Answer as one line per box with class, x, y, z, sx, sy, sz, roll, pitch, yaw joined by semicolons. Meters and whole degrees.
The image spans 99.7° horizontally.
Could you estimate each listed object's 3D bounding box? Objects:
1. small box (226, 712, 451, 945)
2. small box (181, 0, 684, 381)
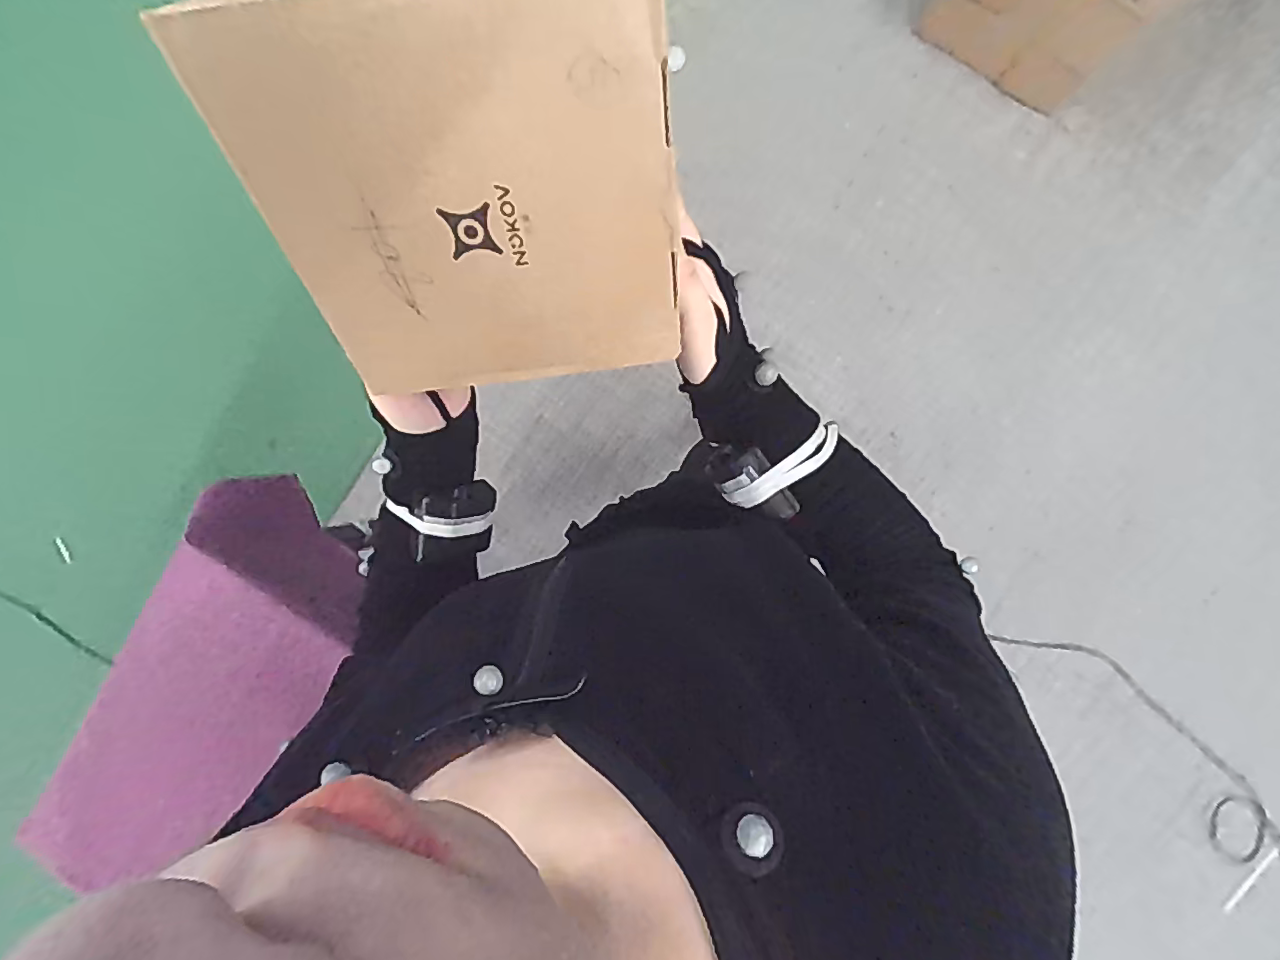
small box;-0.398;0.459;0.745;0.179;0.176;0.168;34;95;4
small box;-0.073;-0.177;0.294;0.179;0.168;0.176;-5;49;1
